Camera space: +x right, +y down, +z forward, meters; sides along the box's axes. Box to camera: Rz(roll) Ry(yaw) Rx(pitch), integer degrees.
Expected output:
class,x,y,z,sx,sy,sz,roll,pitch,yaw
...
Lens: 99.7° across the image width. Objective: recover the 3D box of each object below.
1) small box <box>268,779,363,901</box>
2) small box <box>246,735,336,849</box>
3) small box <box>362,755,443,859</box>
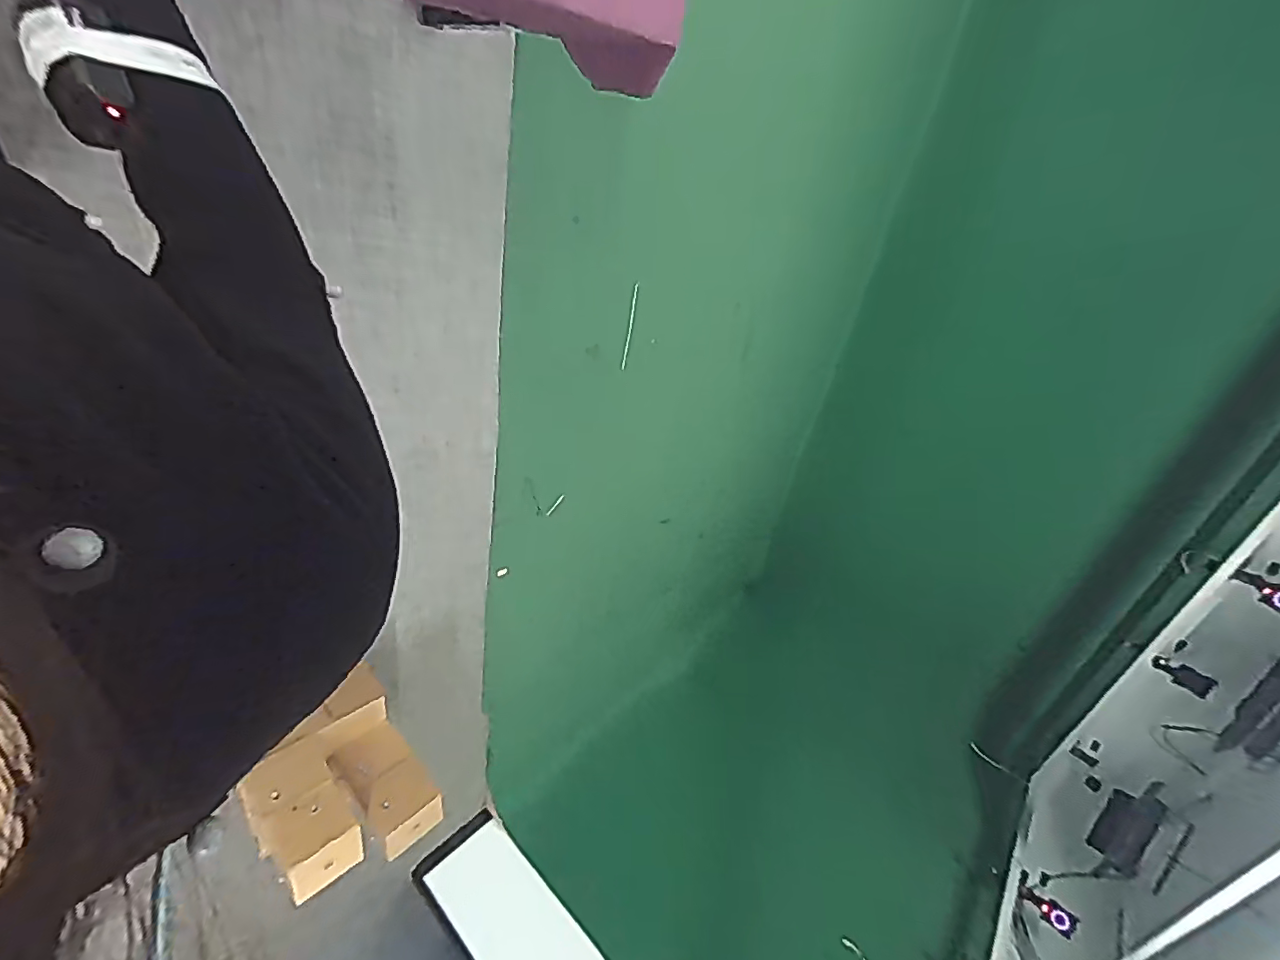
class,x,y,z,sx,sy,sz,roll,pitch,yaw
small box,-0.854,0.941,1.427,0.168,0.176,0.179,-20,132,-44
small box,-0.972,0.863,1.509,0.179,0.176,0.168,-21,134,-45
small box,-0.730,0.996,1.658,0.179,0.176,0.168,-25,139,-43
